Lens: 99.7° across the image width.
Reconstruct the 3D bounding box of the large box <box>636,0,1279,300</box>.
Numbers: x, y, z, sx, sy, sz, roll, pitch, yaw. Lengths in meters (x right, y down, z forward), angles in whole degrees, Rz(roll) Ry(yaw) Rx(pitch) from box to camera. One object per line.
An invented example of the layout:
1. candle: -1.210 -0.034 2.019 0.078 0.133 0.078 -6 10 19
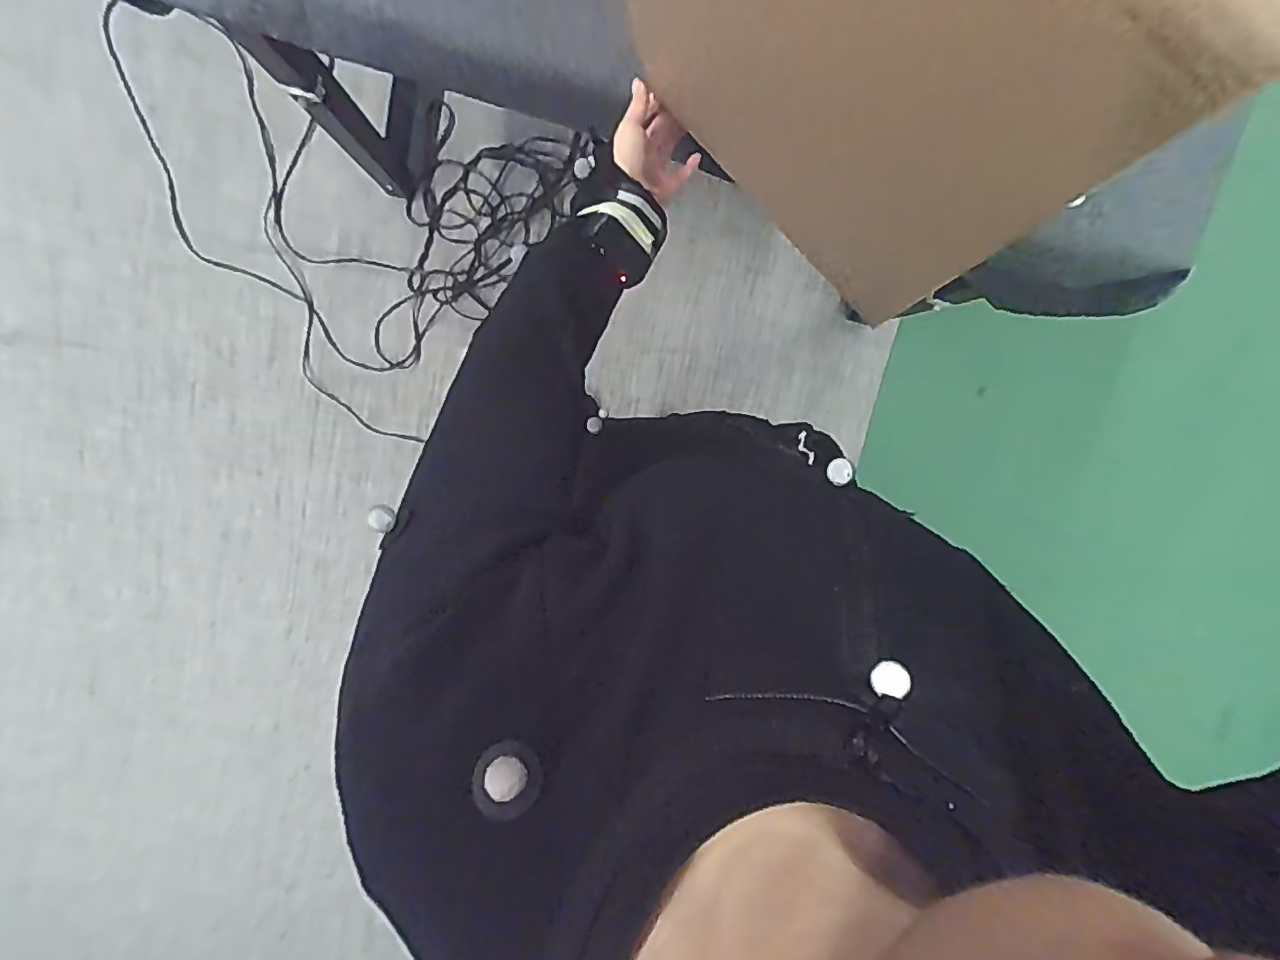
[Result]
1. large box: 0.187 -0.347 0.289 0.320 0.408 0.320 -43 89 14
